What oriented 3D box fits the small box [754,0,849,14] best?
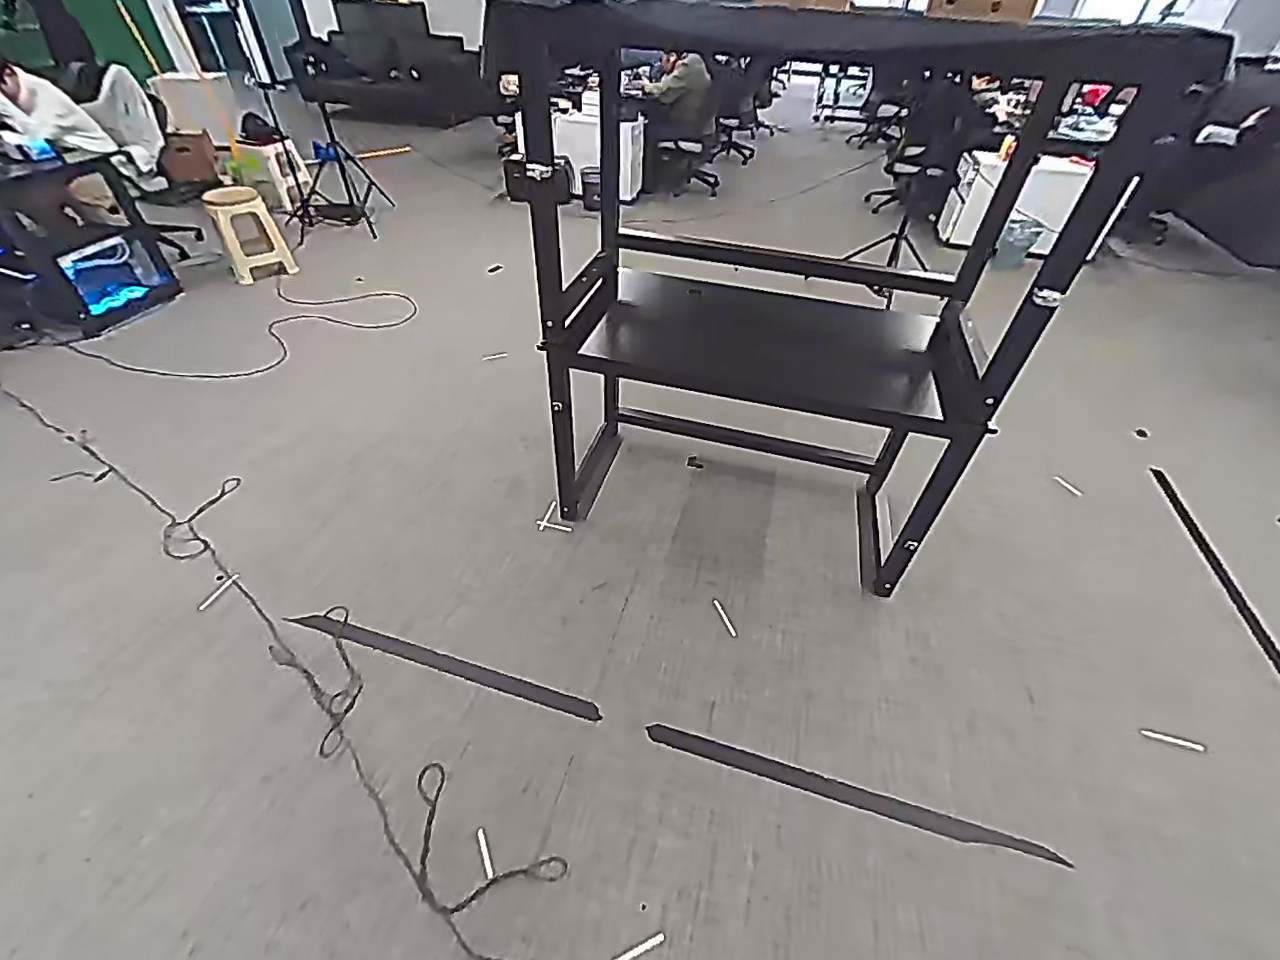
[{"bbox_3d":[0.307,-0.950,0.966,0.168,0.176,0.179,13,42,12],"label":"small box"}]

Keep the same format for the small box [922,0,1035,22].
[{"bbox_3d":[0.595,-0.888,0.915,0.168,0.176,0.179,15,43,13],"label":"small box"}]
